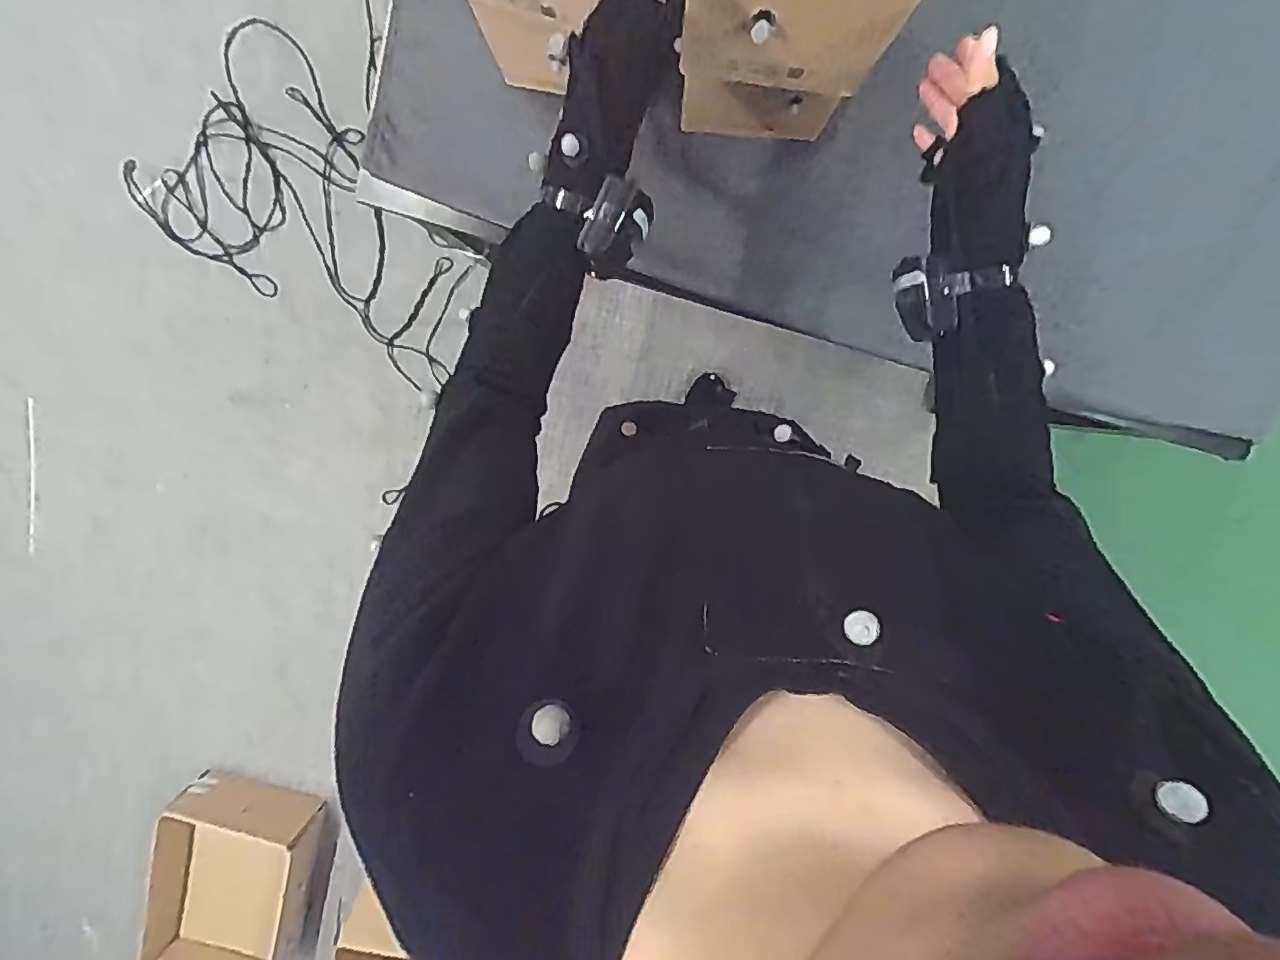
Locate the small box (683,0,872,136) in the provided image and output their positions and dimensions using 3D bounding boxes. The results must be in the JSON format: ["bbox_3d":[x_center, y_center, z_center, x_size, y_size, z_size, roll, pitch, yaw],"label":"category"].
[{"bbox_3d":[0.137,-0.492,0.567,0.168,0.176,0.179,5,99,0],"label":"small box"}]
